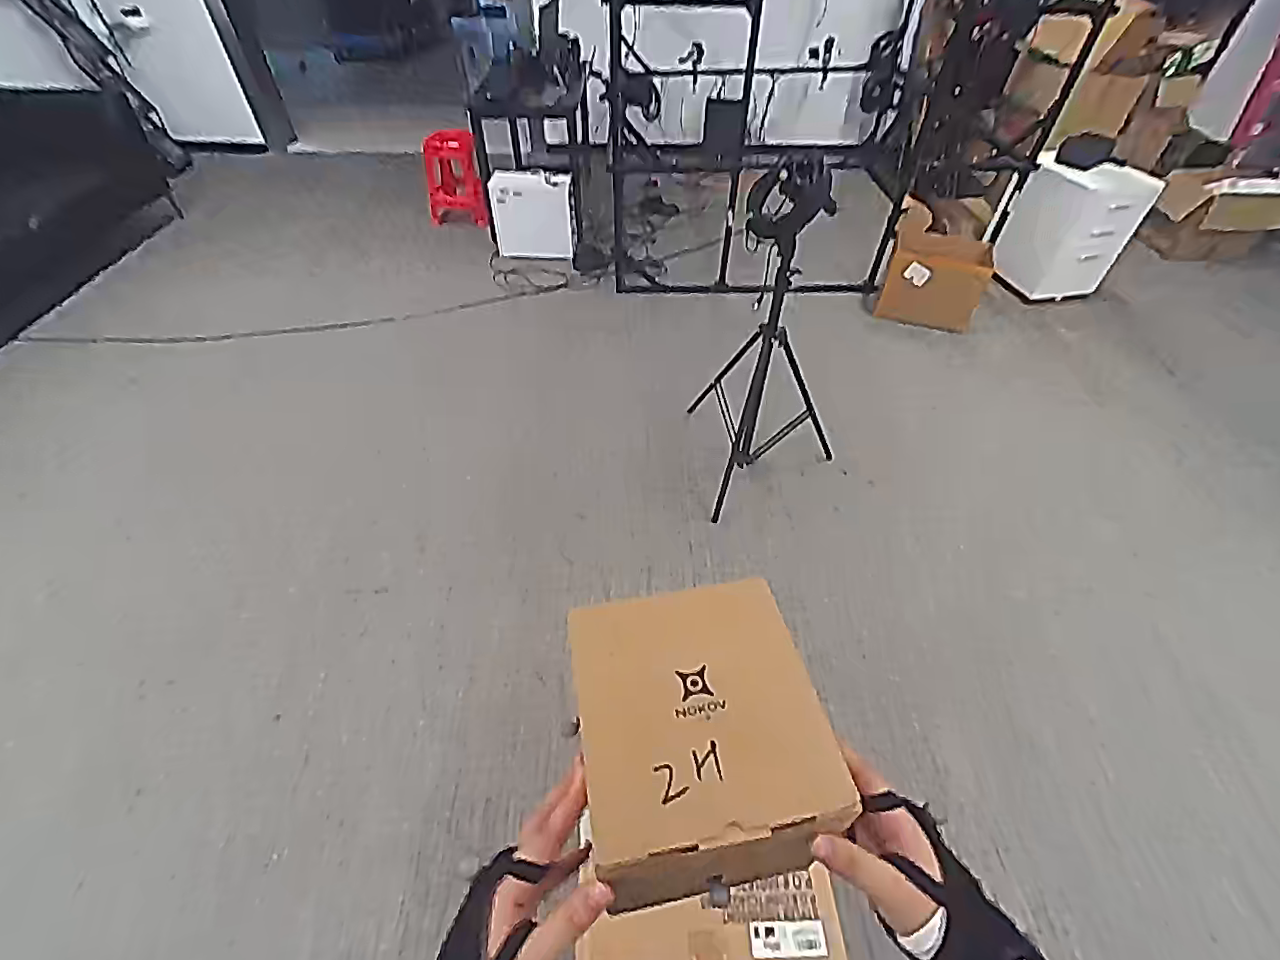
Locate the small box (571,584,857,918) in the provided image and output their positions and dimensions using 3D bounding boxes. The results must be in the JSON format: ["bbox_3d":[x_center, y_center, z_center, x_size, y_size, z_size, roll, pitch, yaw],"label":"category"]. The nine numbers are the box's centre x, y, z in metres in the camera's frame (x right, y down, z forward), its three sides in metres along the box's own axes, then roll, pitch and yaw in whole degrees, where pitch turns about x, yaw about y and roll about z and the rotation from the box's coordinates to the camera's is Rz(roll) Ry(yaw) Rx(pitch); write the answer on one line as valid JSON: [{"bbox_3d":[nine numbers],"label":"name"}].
[{"bbox_3d":[0.038,0.213,0.433,0.168,0.176,0.179,-8,44,-8],"label":"small box"}]
